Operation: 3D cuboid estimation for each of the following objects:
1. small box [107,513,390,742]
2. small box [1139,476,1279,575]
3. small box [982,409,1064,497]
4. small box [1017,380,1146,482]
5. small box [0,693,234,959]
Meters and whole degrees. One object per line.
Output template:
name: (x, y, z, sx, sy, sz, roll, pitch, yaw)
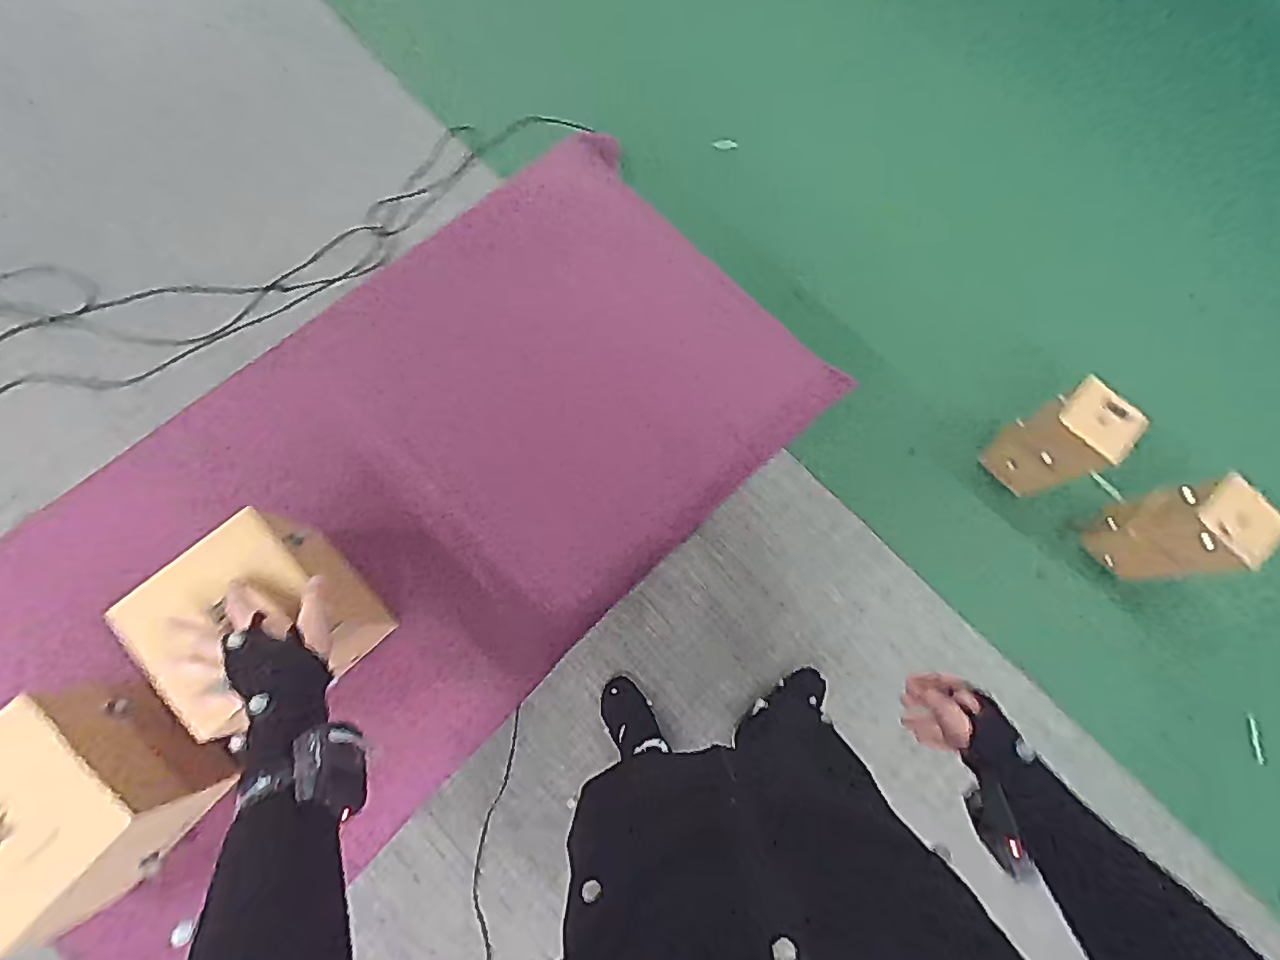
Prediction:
small box: (-0.437, 0.169, 0.636, 0.168, 0.176, 0.179, -42, 81, -14)
small box: (1.439, 0.122, 1.369, 0.179, 0.176, 0.168, -39, 81, -13)
small box: (1.146, -0.076, 1.577, 0.179, 0.176, 0.168, -42, 80, -14)
small box: (1.146, -0.124, 1.418, 0.168, 0.176, 0.179, 43, 77, 9)
small box: (-0.600, 0.348, 0.574, 0.179, 0.176, 0.168, 41, 76, 7)
